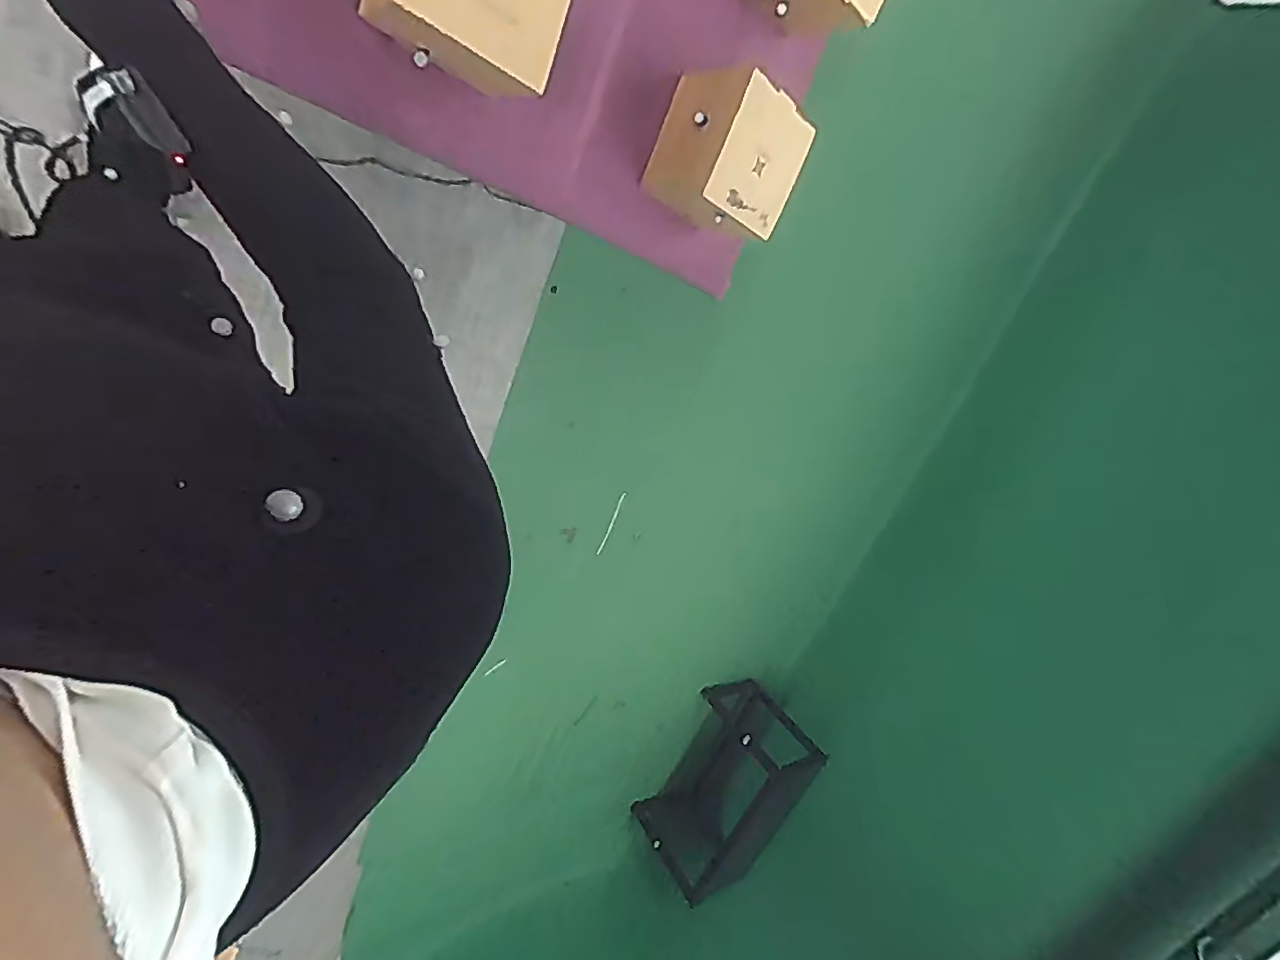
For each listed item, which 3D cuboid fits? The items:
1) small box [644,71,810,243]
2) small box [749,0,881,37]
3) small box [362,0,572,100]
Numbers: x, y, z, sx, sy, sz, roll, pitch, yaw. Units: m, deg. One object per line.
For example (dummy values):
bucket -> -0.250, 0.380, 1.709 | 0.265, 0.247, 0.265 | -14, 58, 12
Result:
small box -> 0.133, -0.512, 0.873 | 0.168, 0.176, 0.179 | 10, 110, -42
small box -> 0.263, -0.787, 0.779 | 0.168, 0.176, 0.179 | 7, 116, -39
small box -> -0.183, -0.549, 0.585 | 0.168, 0.176, 0.179 | 7, 114, -42
